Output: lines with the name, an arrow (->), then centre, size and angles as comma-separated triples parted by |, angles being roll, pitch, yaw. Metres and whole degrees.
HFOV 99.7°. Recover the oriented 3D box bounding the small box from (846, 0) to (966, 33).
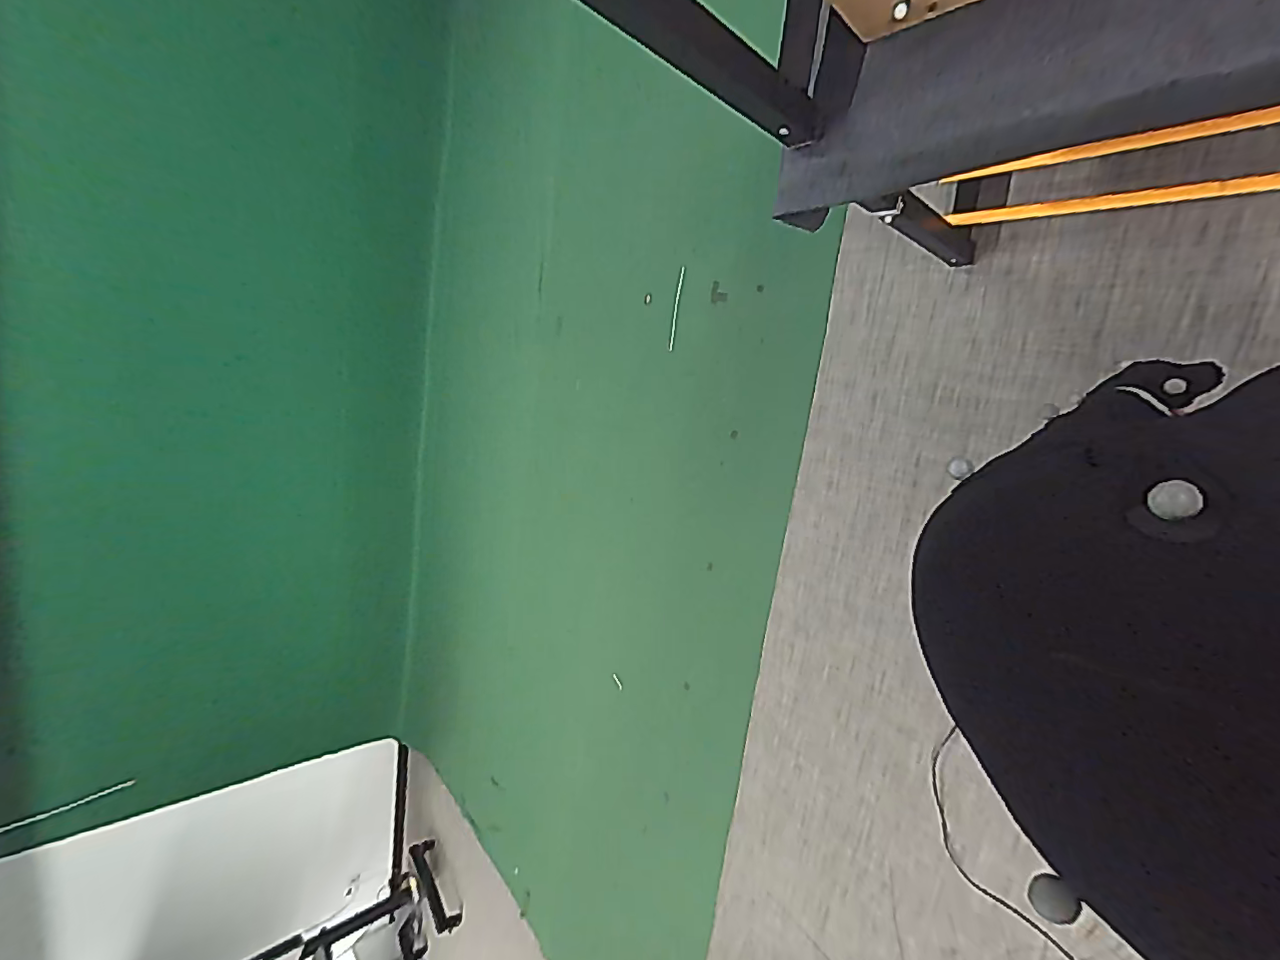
small box -> 0.341, -0.723, 0.676 | 0.168, 0.176, 0.179 | 17, 104, 46
